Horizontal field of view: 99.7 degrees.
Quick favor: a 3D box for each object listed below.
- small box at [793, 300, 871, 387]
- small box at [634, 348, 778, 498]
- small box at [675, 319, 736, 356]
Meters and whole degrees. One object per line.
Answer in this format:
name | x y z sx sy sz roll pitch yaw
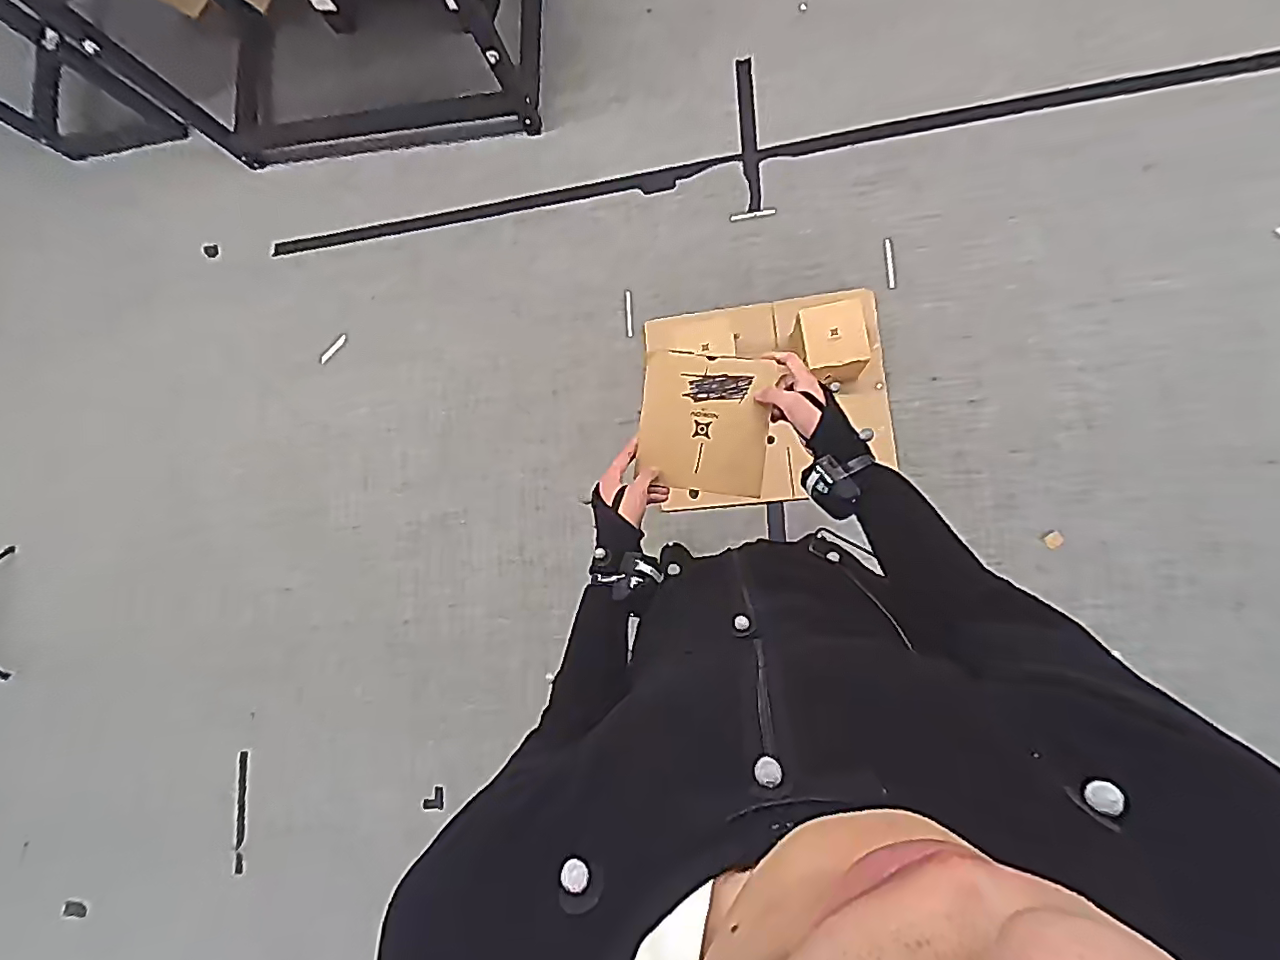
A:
small box | 0.537 -0.380 1.536 0.168 0.176 0.179 -9 82 10
small box | 0.093 -0.074 0.764 0.168 0.176 0.179 7 92 8
small box | 0.199 -0.349 1.590 0.168 0.176 0.179 -7 84 11
